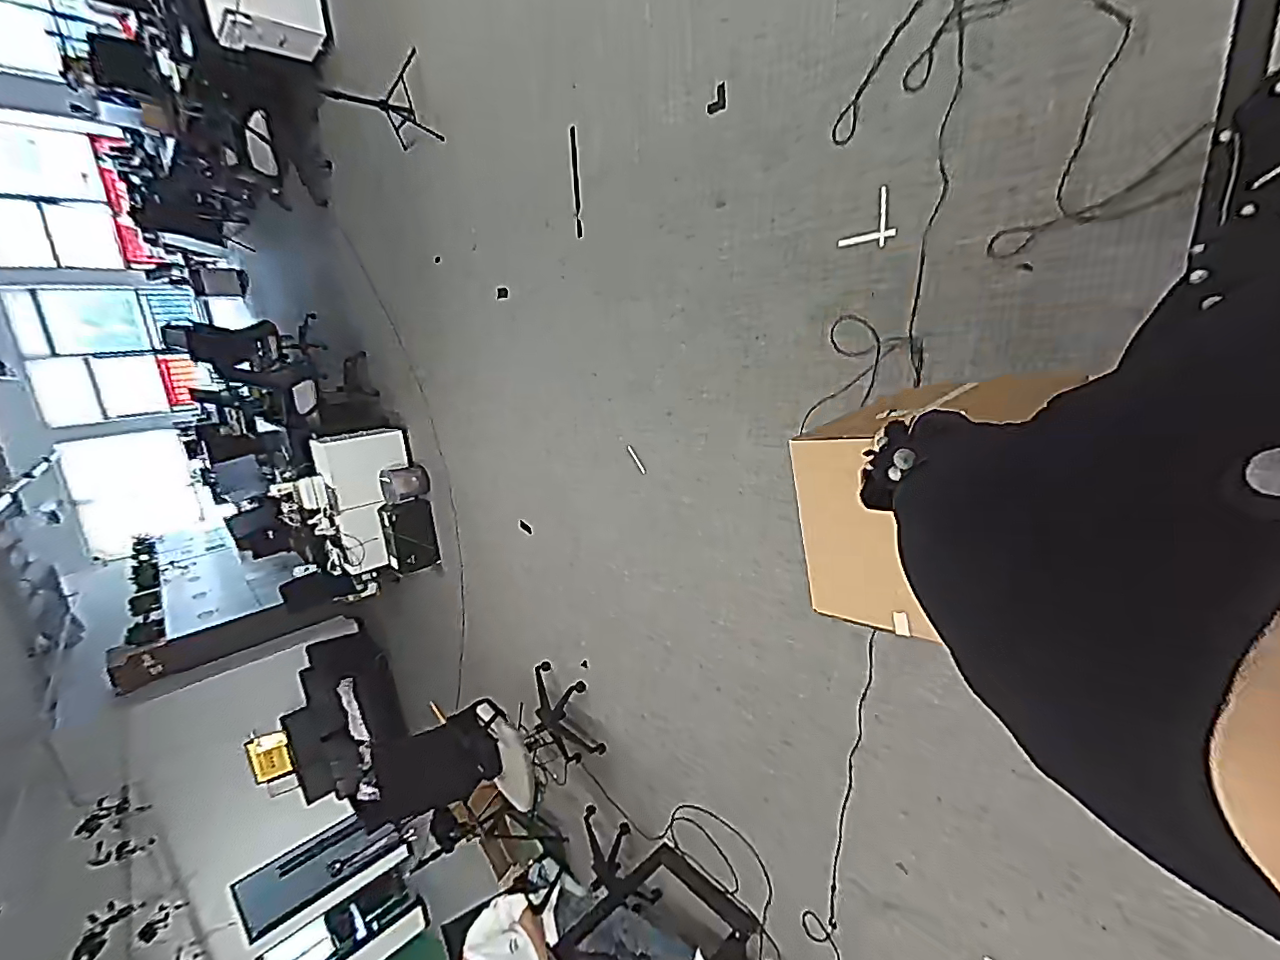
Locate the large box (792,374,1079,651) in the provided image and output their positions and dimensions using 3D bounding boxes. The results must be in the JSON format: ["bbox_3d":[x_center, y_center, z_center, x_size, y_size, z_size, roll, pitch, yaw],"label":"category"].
[{"bbox_3d":[0.513,0.023,0.914,0.320,0.408,0.320,2,109,49],"label":"large box"}]
